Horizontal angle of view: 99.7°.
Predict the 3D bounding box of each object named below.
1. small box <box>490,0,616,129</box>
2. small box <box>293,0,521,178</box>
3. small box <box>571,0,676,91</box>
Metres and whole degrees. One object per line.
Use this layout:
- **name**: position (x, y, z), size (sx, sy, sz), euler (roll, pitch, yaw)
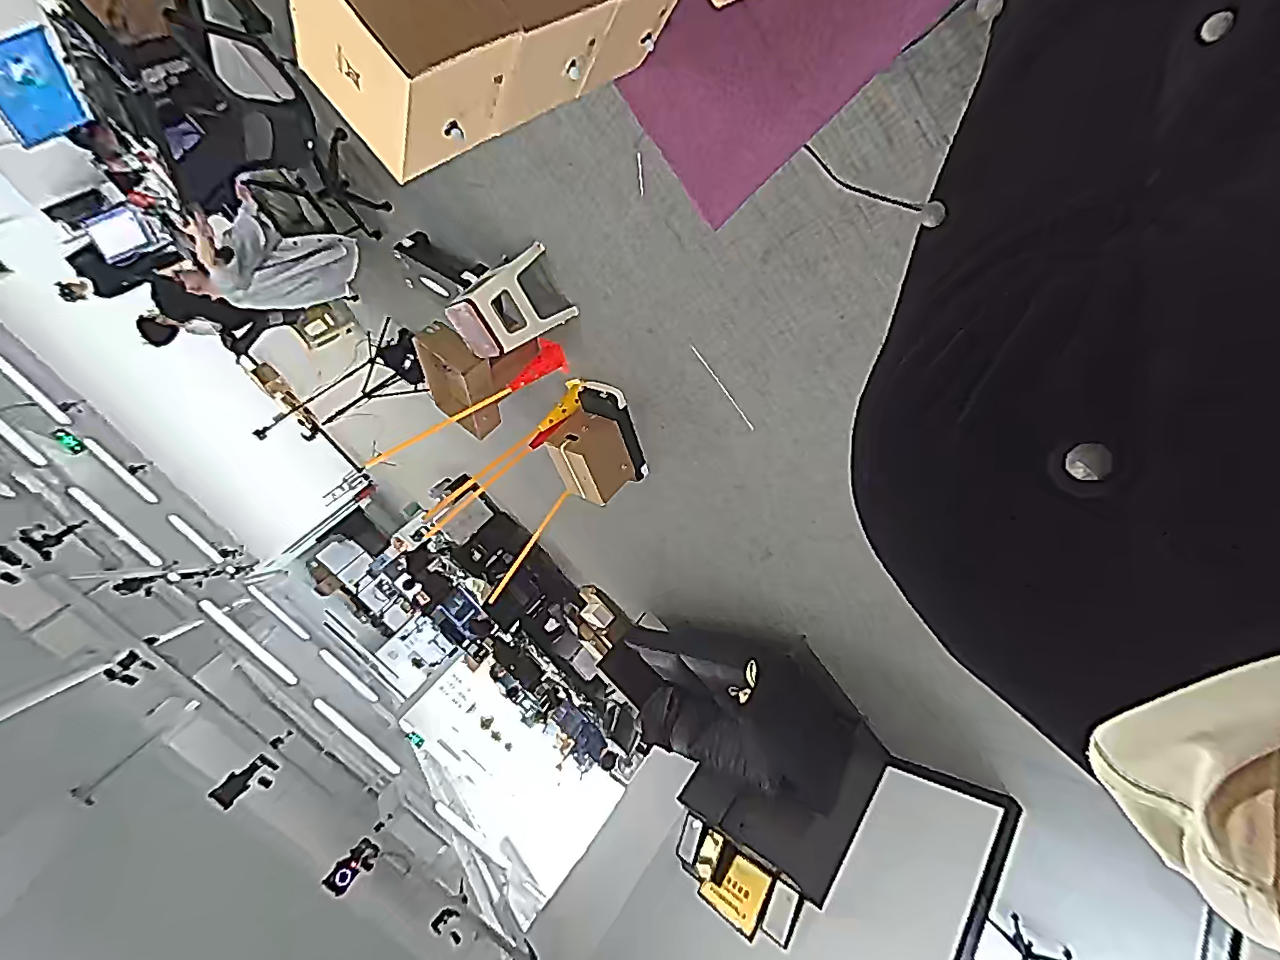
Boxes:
- **small box**: position (-0.166, -0.615, 0.702), size (0.179, 0.176, 0.168), euler (49, 154, -12)
- **small box**: position (-0.267, -0.509, 0.631), size (0.179, 0.176, 0.168), euler (49, 154, -11)
- **small box**: position (-0.065, -0.720, 0.775), size (0.179, 0.176, 0.168), euler (49, 154, -12)
